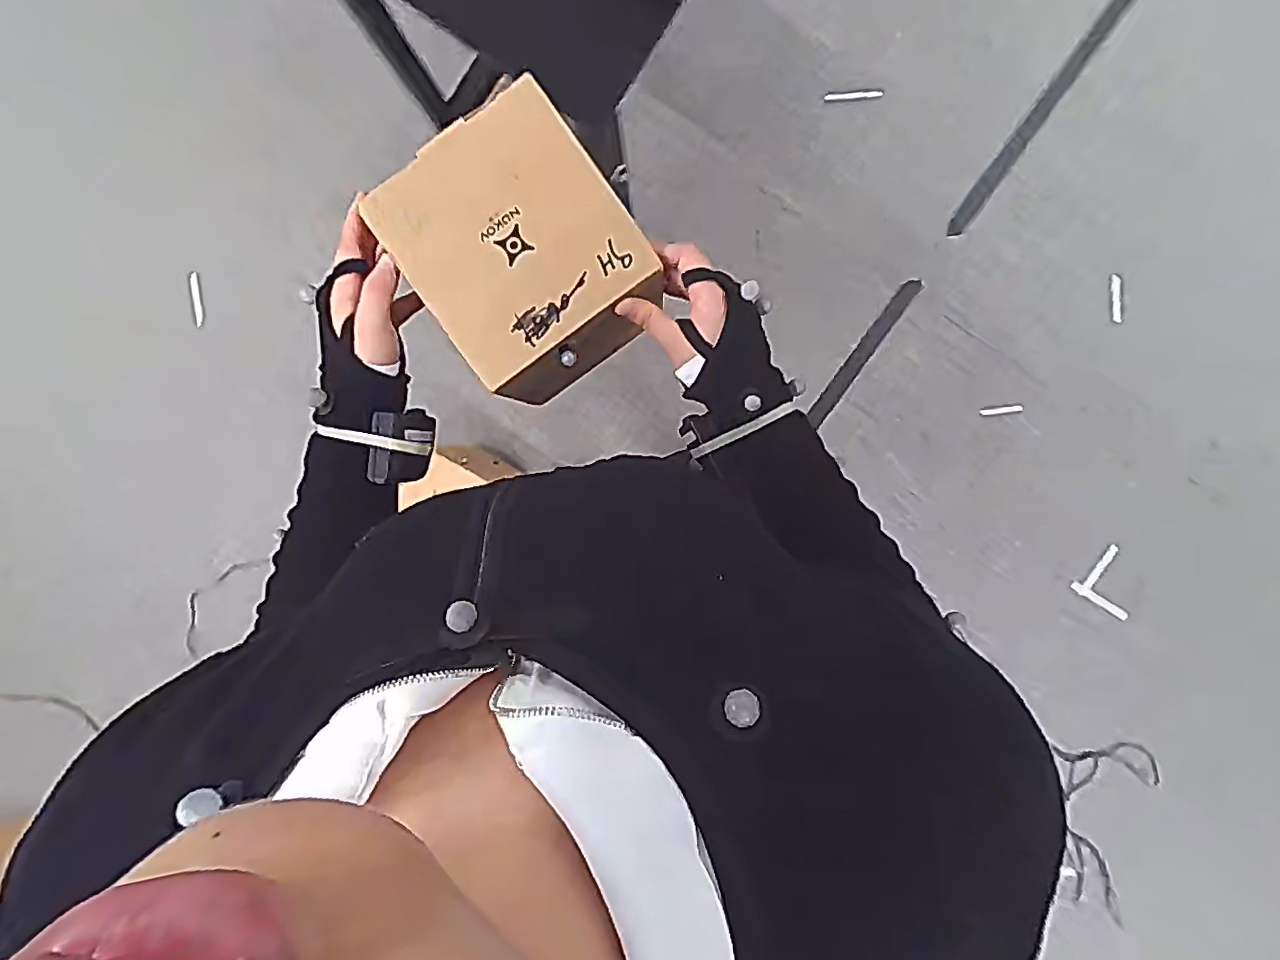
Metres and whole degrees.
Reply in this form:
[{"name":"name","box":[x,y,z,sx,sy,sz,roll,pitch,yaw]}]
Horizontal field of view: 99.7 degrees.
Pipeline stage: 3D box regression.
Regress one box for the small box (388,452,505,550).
[{"name":"small box","box":[-0.443,0.041,1.272,0.179,0.176,0.168,28,94,2]}]

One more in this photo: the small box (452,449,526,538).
[{"name":"small box","box":[-0.429,0.031,1.434,0.179,0.176,0.168,31,95,0]}]
